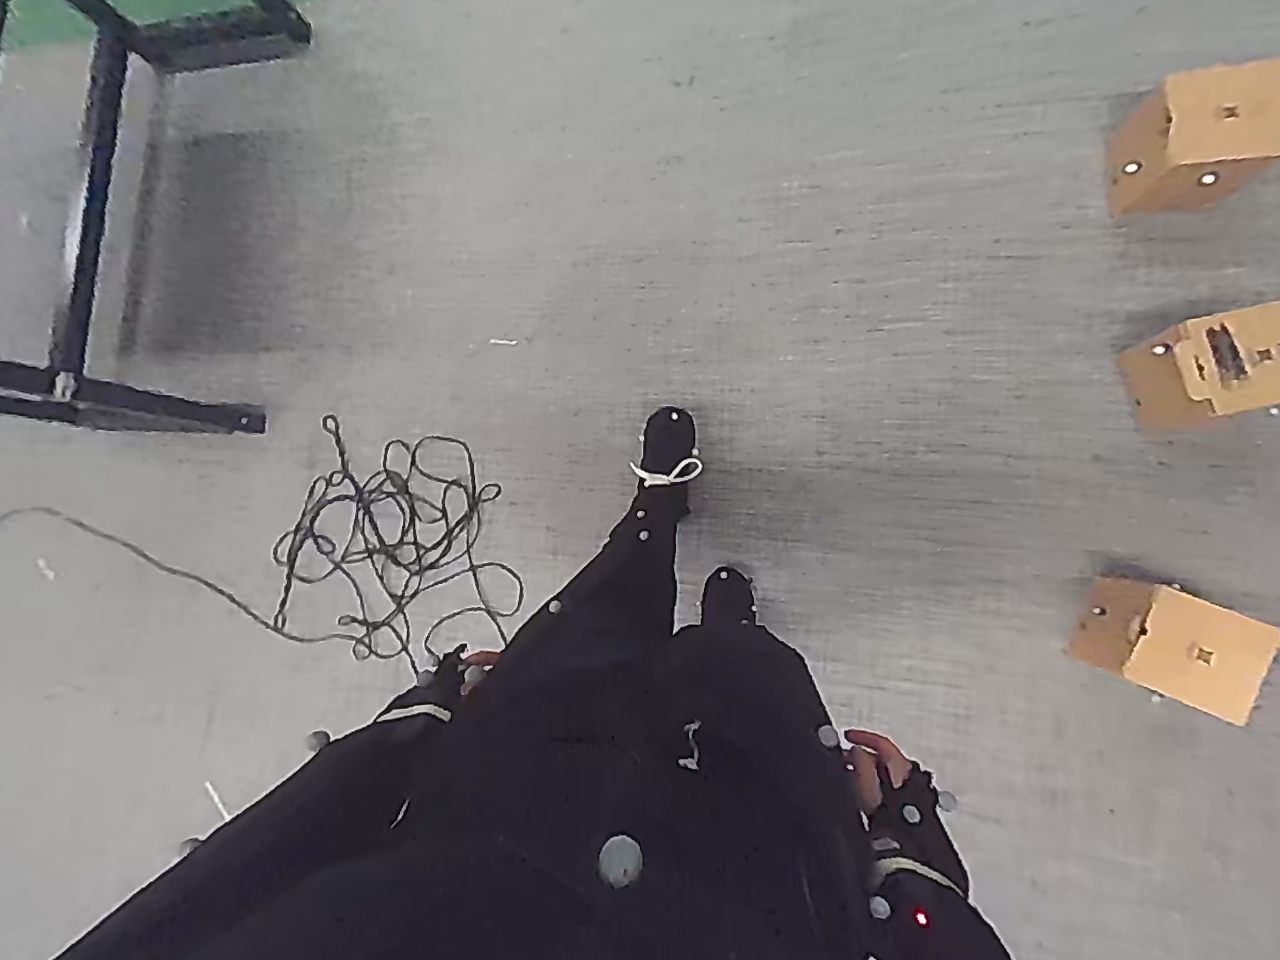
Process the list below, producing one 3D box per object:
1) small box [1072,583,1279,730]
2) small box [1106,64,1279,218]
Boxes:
[{"bbox_3d":[0.904,0.286,0.925,0.179,0.176,0.168,22,90,14],"label":"small box"},{"bbox_3d":[0.996,-0.604,0.988,0.179,0.176,0.168,-1,86,11],"label":"small box"}]
